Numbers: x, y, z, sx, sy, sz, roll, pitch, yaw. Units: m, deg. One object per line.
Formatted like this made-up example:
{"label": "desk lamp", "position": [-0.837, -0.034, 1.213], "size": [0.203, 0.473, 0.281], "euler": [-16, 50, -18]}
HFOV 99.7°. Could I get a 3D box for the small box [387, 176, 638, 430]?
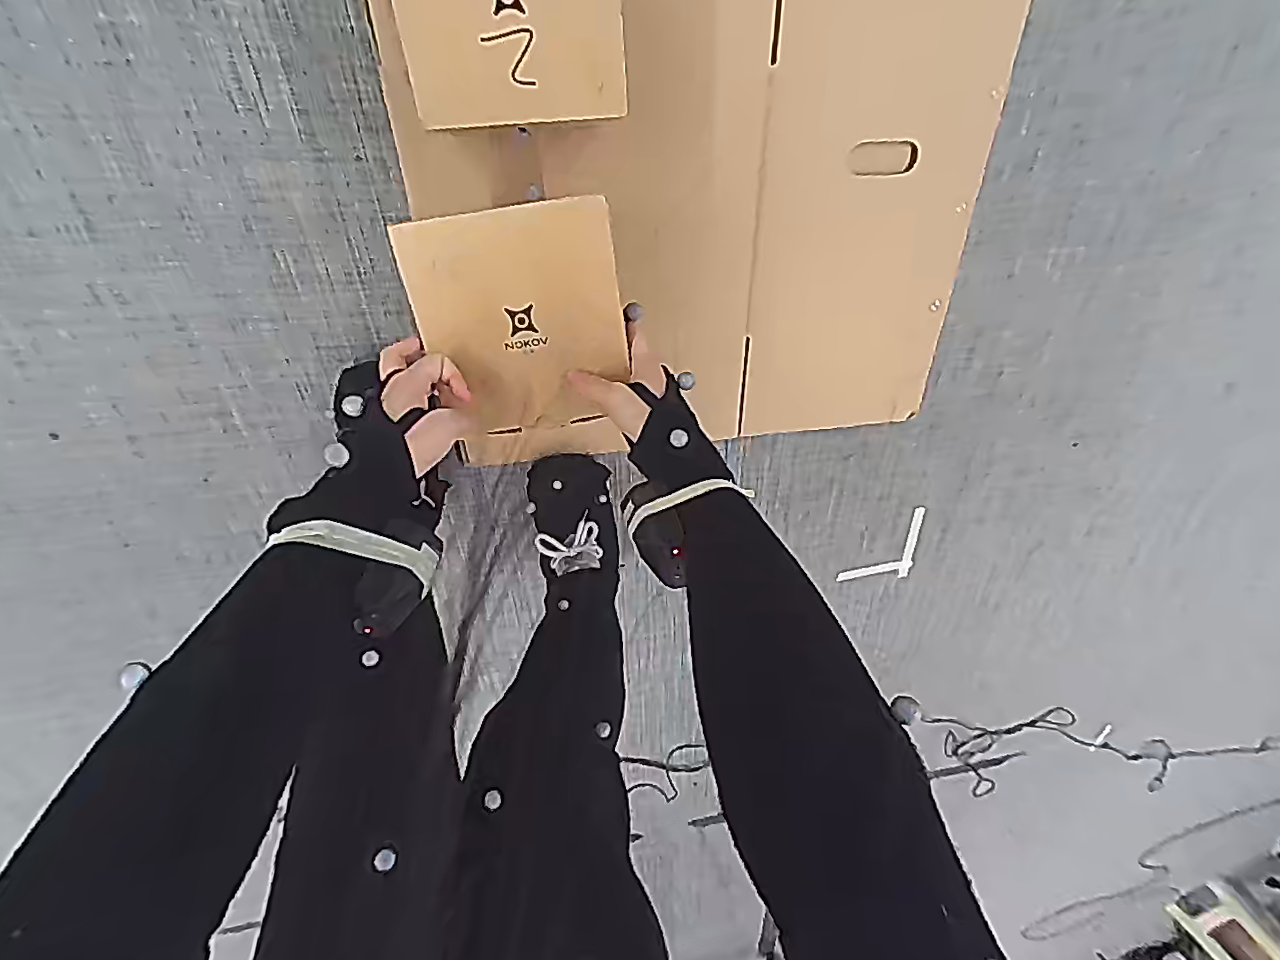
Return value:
{"label": "small box", "position": [-0.099, -0.167, 0.503], "size": [0.168, 0.176, 0.179], "euler": [-9, 117, 1]}
